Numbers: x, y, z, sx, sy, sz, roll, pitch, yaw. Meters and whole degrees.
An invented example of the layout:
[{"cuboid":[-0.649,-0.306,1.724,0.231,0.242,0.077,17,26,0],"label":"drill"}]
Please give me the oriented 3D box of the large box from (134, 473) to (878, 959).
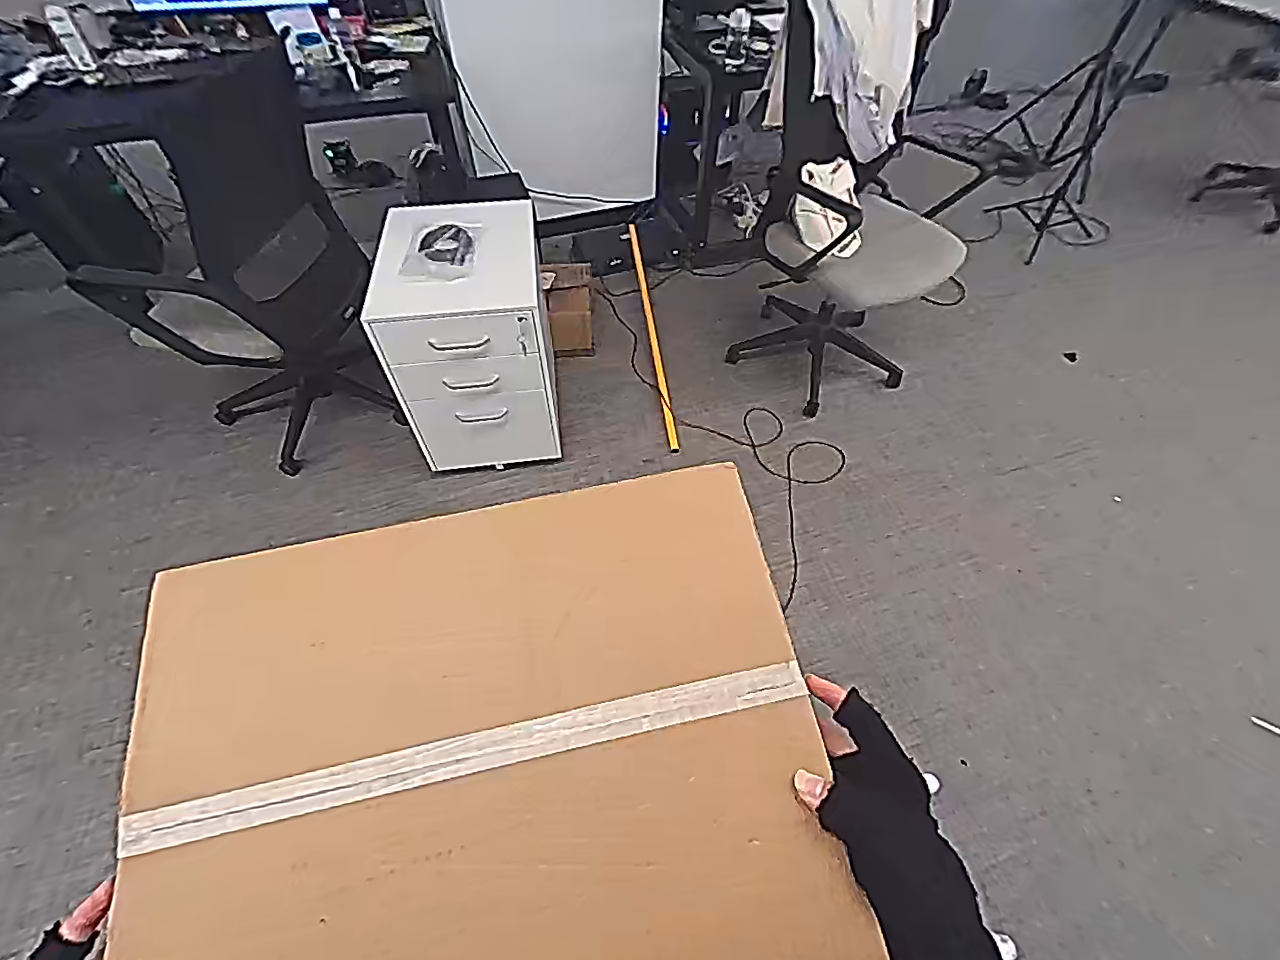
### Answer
[{"cuboid":[-0.094,0.231,0.470,0.408,0.320,0.320,-11,68,-4],"label":"large box"}]
